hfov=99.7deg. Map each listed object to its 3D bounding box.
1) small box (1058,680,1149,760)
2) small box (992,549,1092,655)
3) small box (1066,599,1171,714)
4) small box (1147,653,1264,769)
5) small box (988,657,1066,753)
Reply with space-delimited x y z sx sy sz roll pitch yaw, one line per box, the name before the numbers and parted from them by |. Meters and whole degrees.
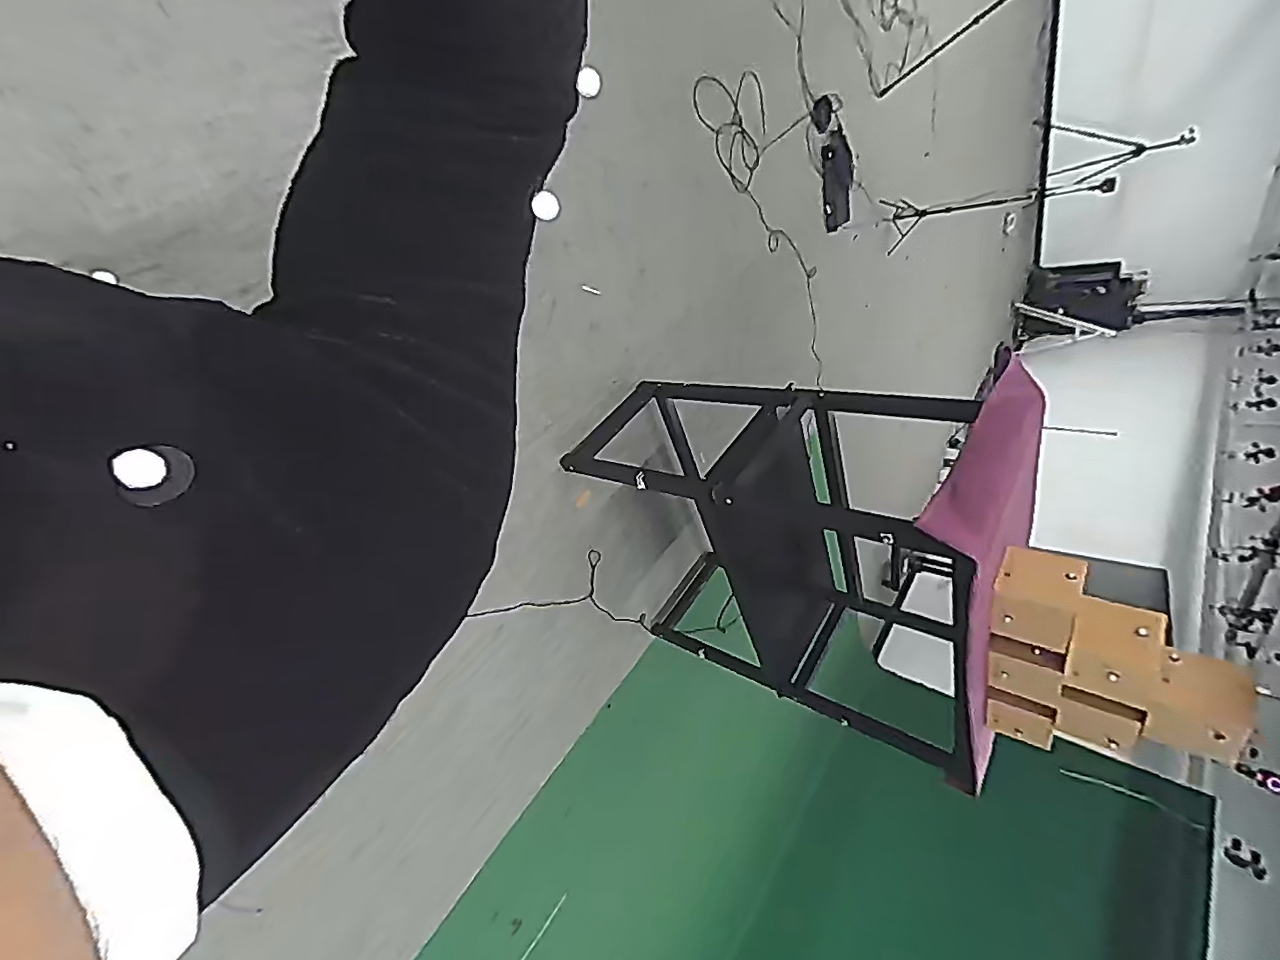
small box | 1.248 0.603 1.456 0.168 0.176 0.179 -47 130 -31
small box | 1.004 0.300 1.361 0.168 0.176 0.179 -47 131 -30
small box | 1.166 0.425 1.325 0.179 0.176 0.168 -46 129 -31
small box | 1.326 0.534 1.278 0.168 0.176 0.179 -48 130 -30
small box | 1.177 0.679 1.645 0.179 0.176 0.168 -45 129 -33
